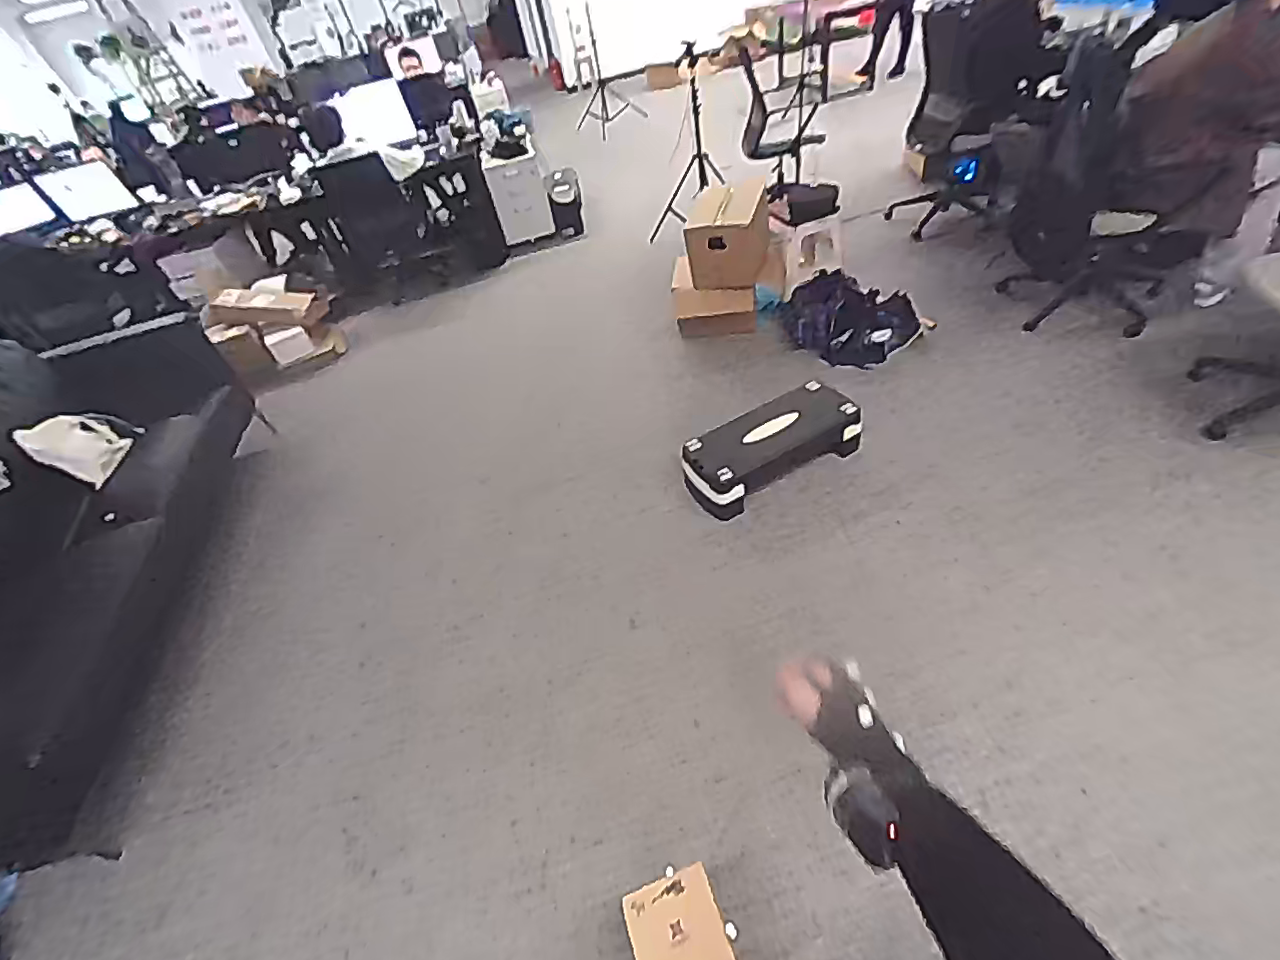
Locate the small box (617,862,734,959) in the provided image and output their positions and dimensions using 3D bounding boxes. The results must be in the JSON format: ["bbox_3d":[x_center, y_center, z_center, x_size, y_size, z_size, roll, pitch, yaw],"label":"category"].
[{"bbox_3d":[0.072,0.862,1.017,0.168,0.176,0.179,-21,45,-6],"label":"small box"}]
